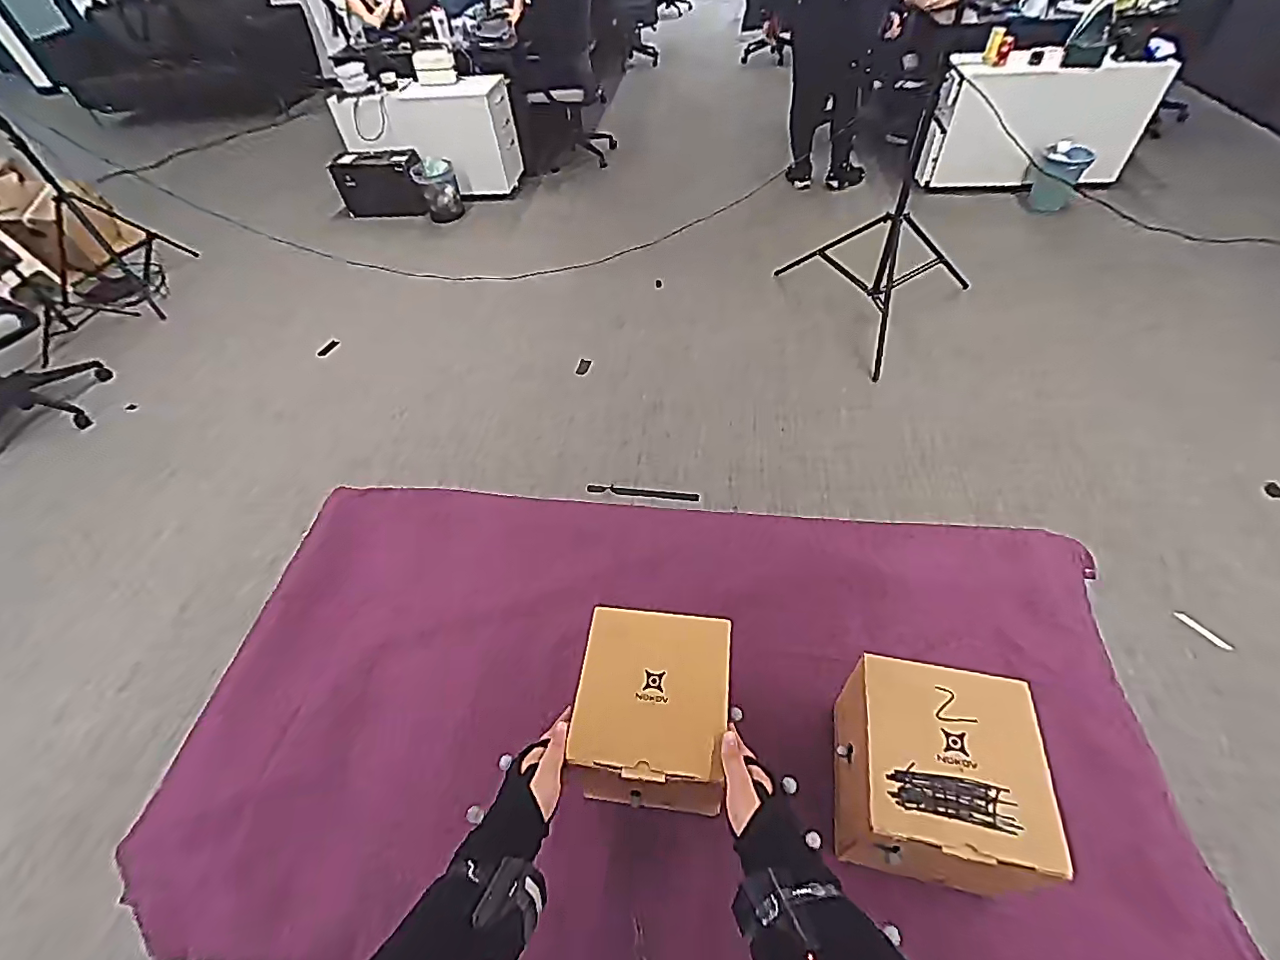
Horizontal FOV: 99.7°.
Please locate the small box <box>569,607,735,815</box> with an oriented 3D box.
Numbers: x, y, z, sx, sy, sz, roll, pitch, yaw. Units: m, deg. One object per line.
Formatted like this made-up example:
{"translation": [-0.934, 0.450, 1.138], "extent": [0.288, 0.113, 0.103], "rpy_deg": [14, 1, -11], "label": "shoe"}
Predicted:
{"translation": [0.021, 0.278, 0.650], "extent": [0.168, 0.176, 0.179], "rpy_deg": [5, 50, 6], "label": "small box"}
